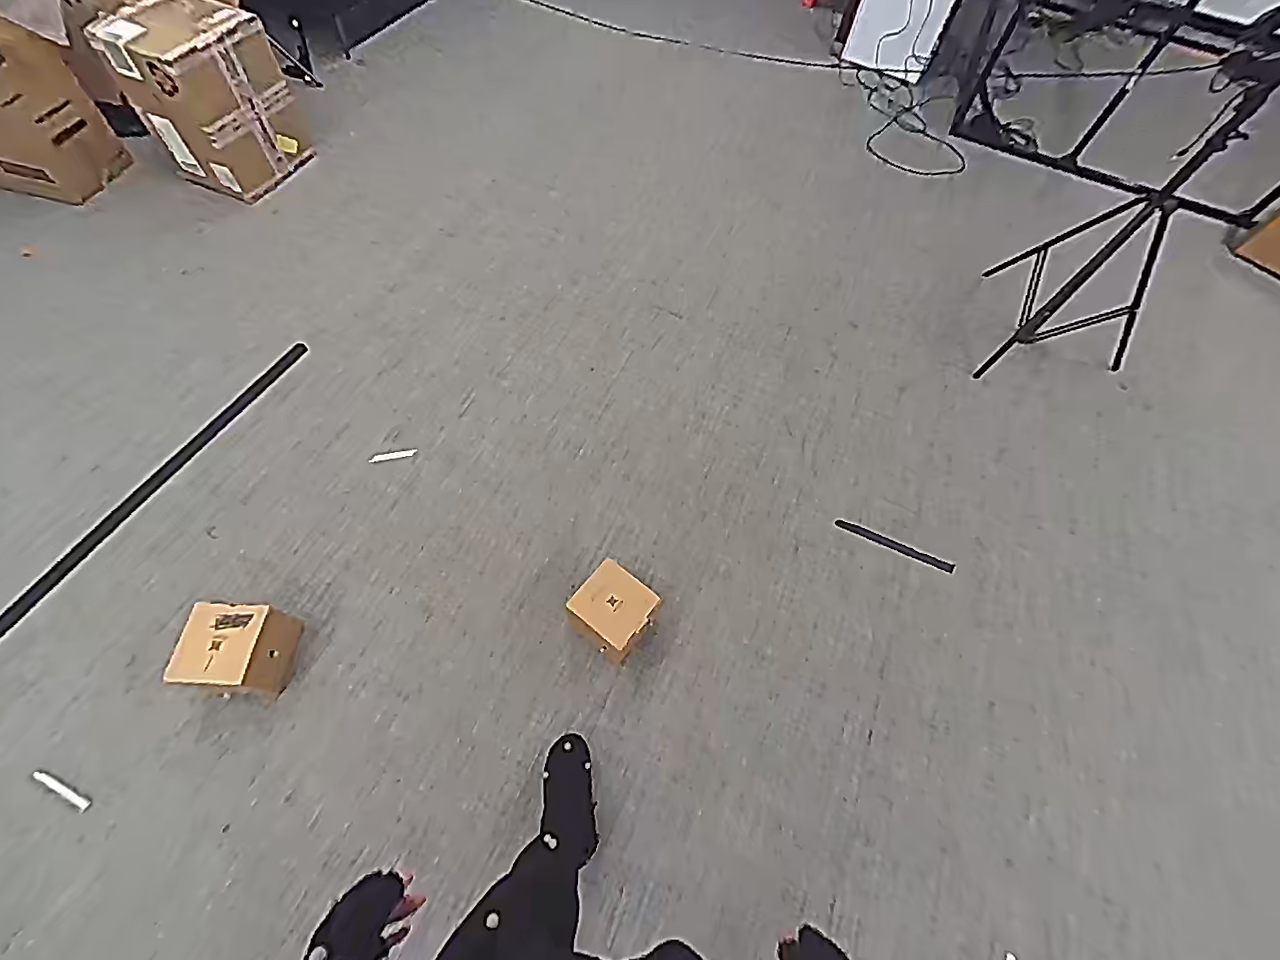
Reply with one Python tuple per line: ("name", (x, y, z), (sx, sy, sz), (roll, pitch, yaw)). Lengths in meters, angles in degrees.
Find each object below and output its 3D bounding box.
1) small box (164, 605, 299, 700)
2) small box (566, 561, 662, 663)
("small box", (-0.931, 0.403, 1.255), (0.168, 0.176, 0.179), (4, 61, -3))
("small box", (-0.068, 0.342, 1.375), (0.179, 0.176, 0.168), (35, 62, 15))
